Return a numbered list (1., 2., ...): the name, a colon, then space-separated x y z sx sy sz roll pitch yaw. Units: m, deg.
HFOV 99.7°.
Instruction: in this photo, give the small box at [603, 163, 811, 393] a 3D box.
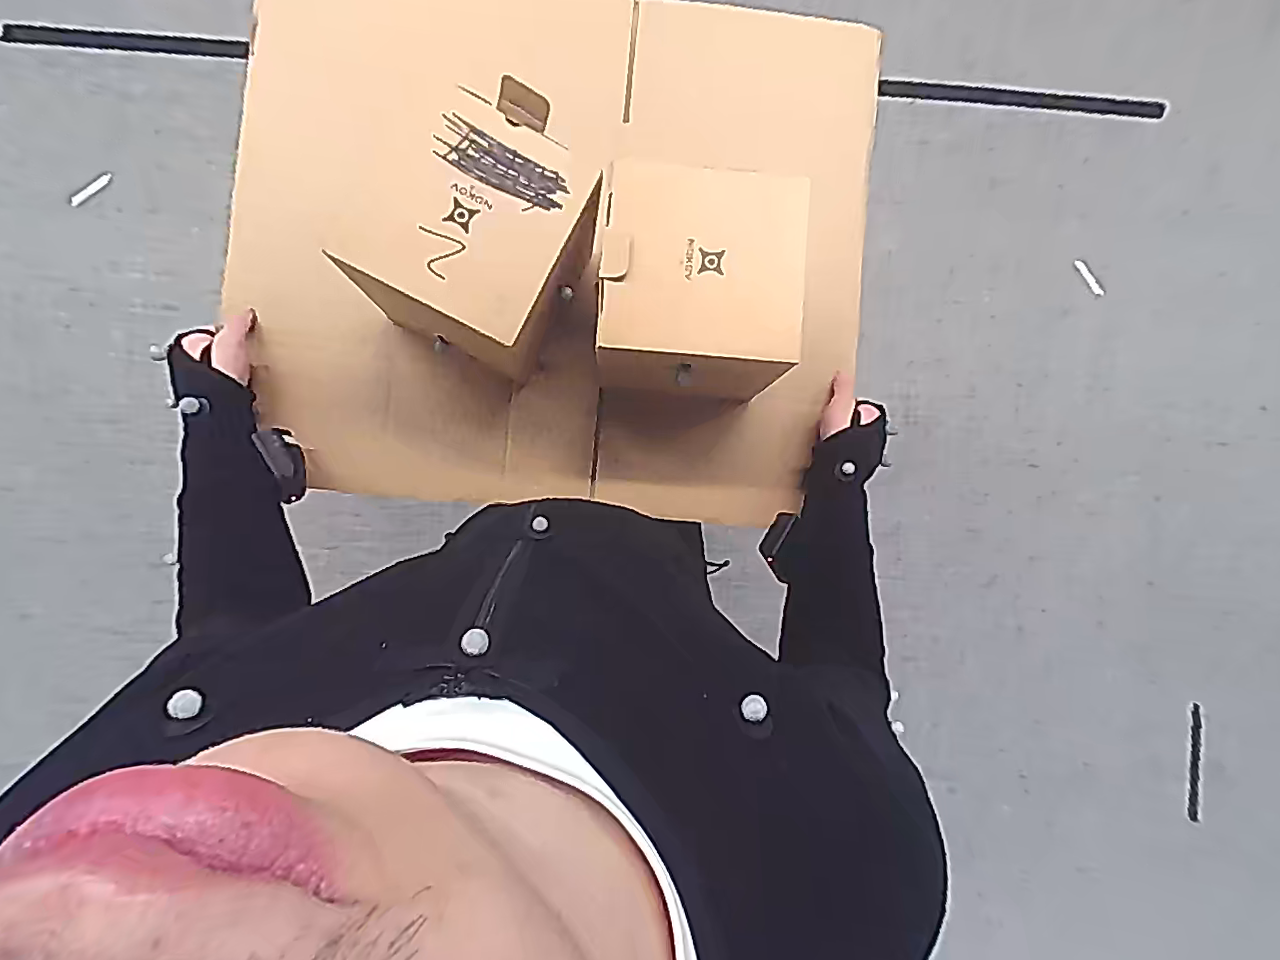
1. small box: 0.057 -0.188 0.555 0.179 0.176 0.168 4 87 -2
